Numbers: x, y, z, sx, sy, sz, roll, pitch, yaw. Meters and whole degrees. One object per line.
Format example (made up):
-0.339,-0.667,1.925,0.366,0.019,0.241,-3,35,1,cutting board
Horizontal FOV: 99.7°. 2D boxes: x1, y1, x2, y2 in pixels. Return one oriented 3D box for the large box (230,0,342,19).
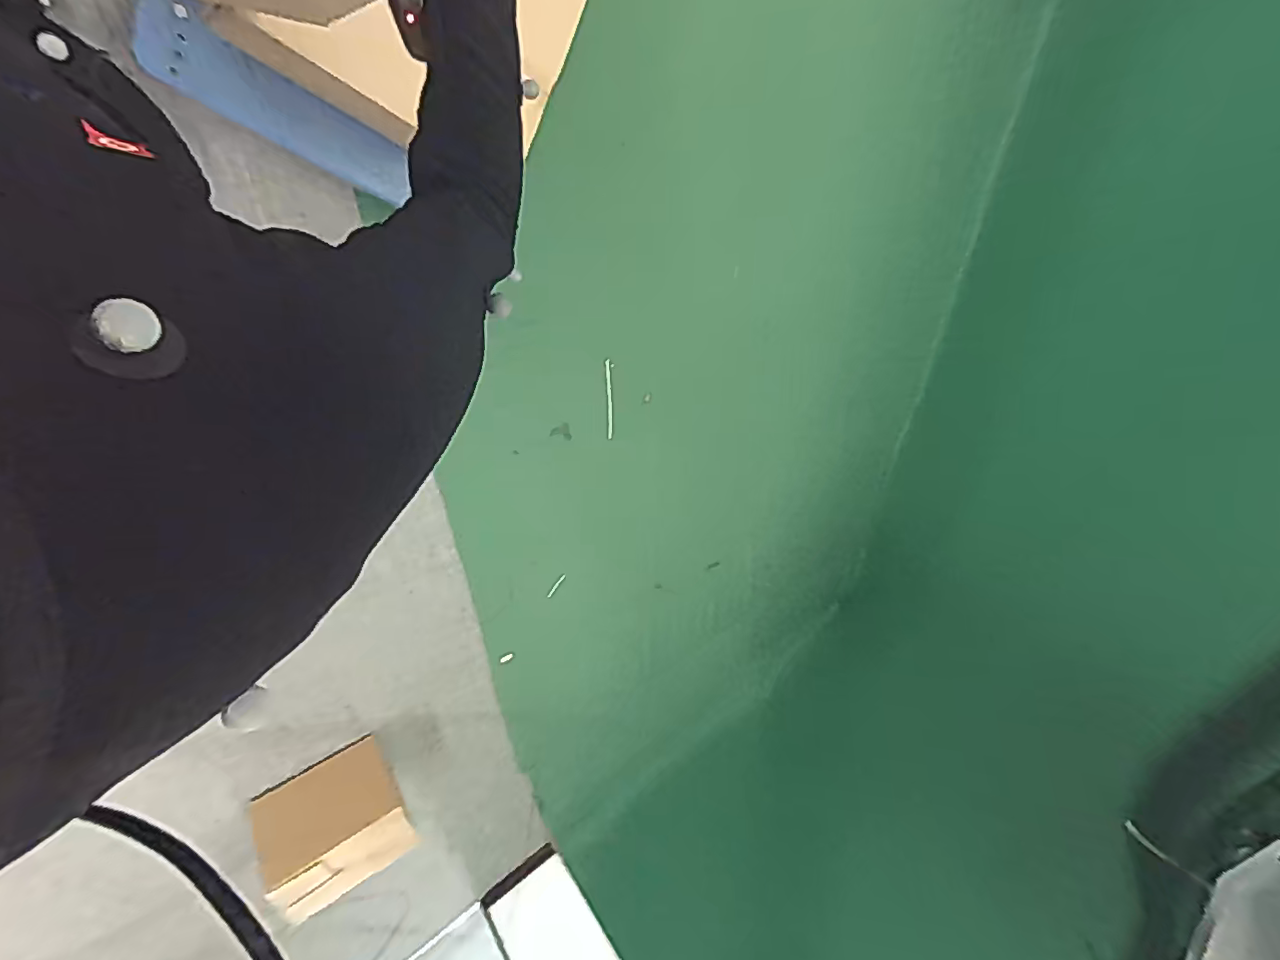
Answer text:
-0.401,-0.535,0.317,0.408,0.320,0.320,-18,126,-37,large box
